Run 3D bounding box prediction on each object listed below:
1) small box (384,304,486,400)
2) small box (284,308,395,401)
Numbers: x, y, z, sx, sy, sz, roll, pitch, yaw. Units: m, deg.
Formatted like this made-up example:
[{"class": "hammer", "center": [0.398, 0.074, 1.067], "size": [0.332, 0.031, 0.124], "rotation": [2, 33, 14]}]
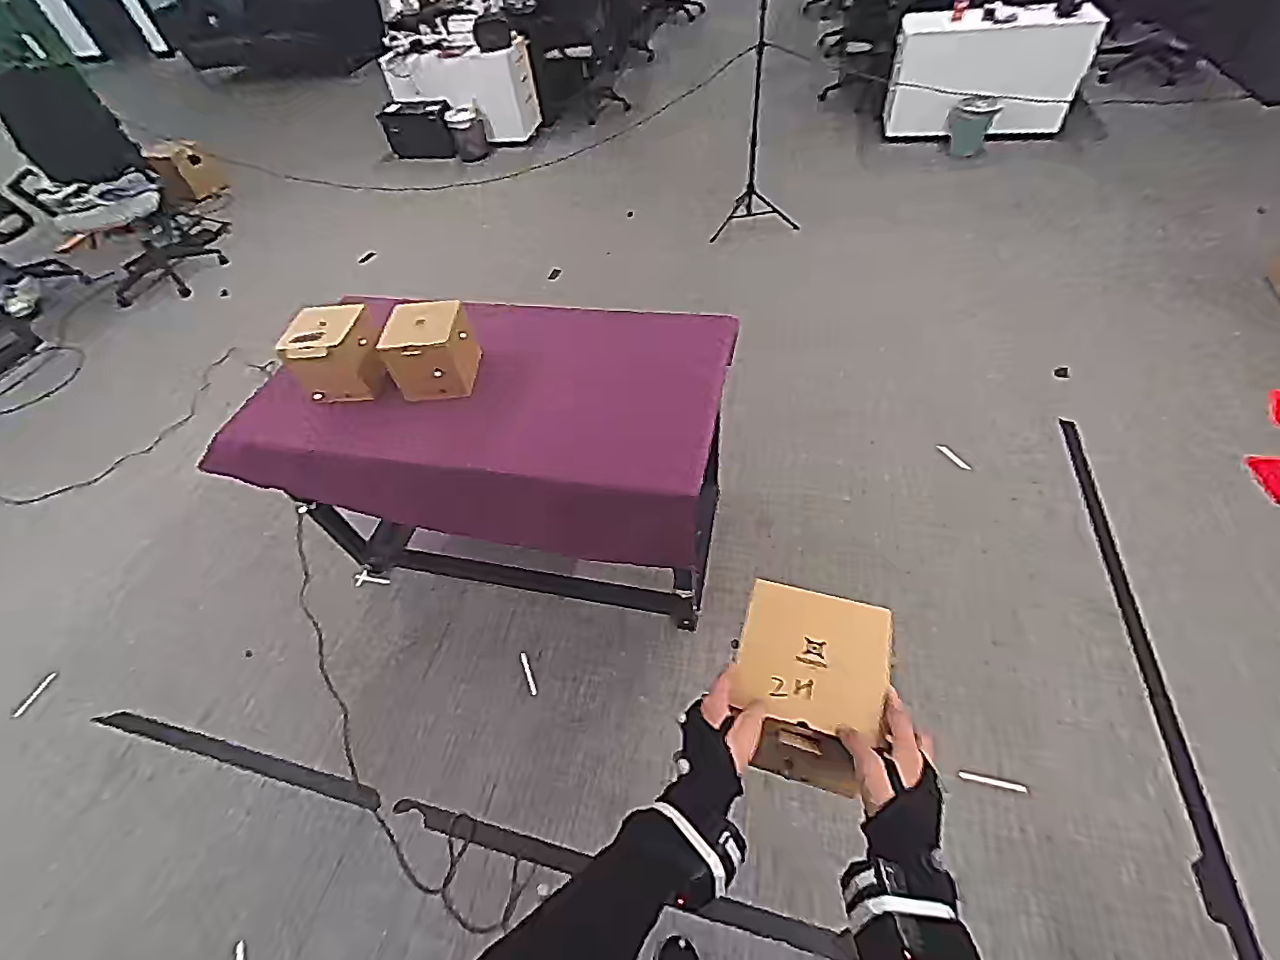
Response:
[{"class": "small box", "center": [-0.500, -0.312, 1.348], "size": [0.168, 0.176, 0.179], "rotation": [-3, 51, 4]}, {"class": "small box", "center": [-0.749, -0.314, 1.378], "size": [0.168, 0.176, 0.179], "rotation": [-2, 51, 5]}]
